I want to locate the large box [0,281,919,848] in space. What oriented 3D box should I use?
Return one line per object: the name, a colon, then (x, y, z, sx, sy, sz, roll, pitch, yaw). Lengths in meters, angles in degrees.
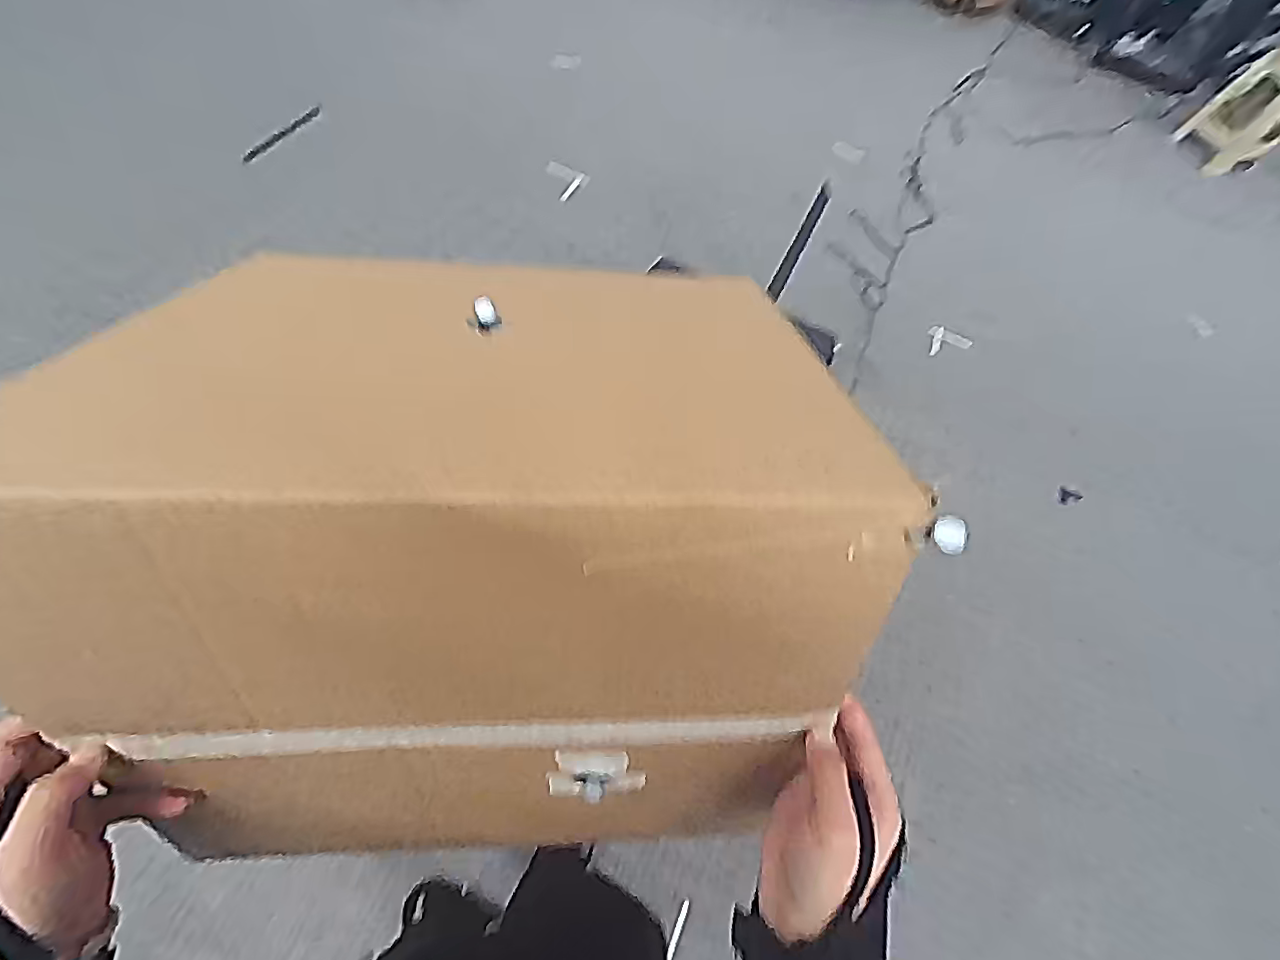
large box: (-0.095, 0.046, 0.422, 0.408, 0.320, 0.320, 1, 37, -5)
